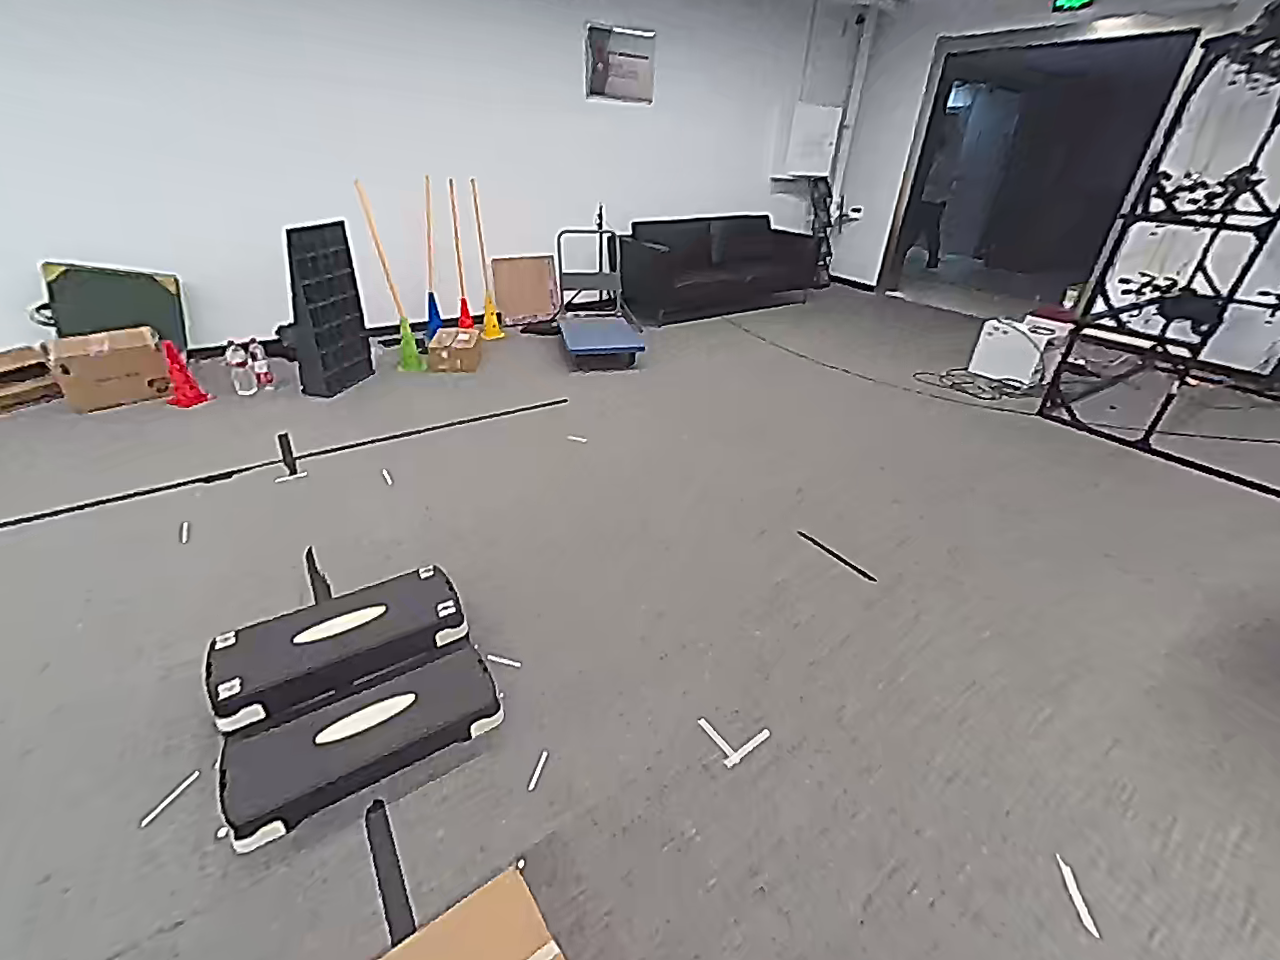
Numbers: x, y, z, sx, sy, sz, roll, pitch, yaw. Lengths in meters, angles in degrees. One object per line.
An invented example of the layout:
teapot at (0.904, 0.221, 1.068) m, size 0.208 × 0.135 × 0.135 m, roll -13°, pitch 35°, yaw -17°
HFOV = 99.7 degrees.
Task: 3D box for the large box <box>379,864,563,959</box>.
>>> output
large box at (-0.308, 0.963, 0.875) m, size 0.408 × 0.320 × 0.320 m, roll -19°, pitch 38°, yaw -32°

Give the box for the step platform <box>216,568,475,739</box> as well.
step platform at (-0.883, 0.504, 1.676) m, size 0.684 × 0.204 × 0.286 m, roll -14°, pitch 35°, yaw -26°
